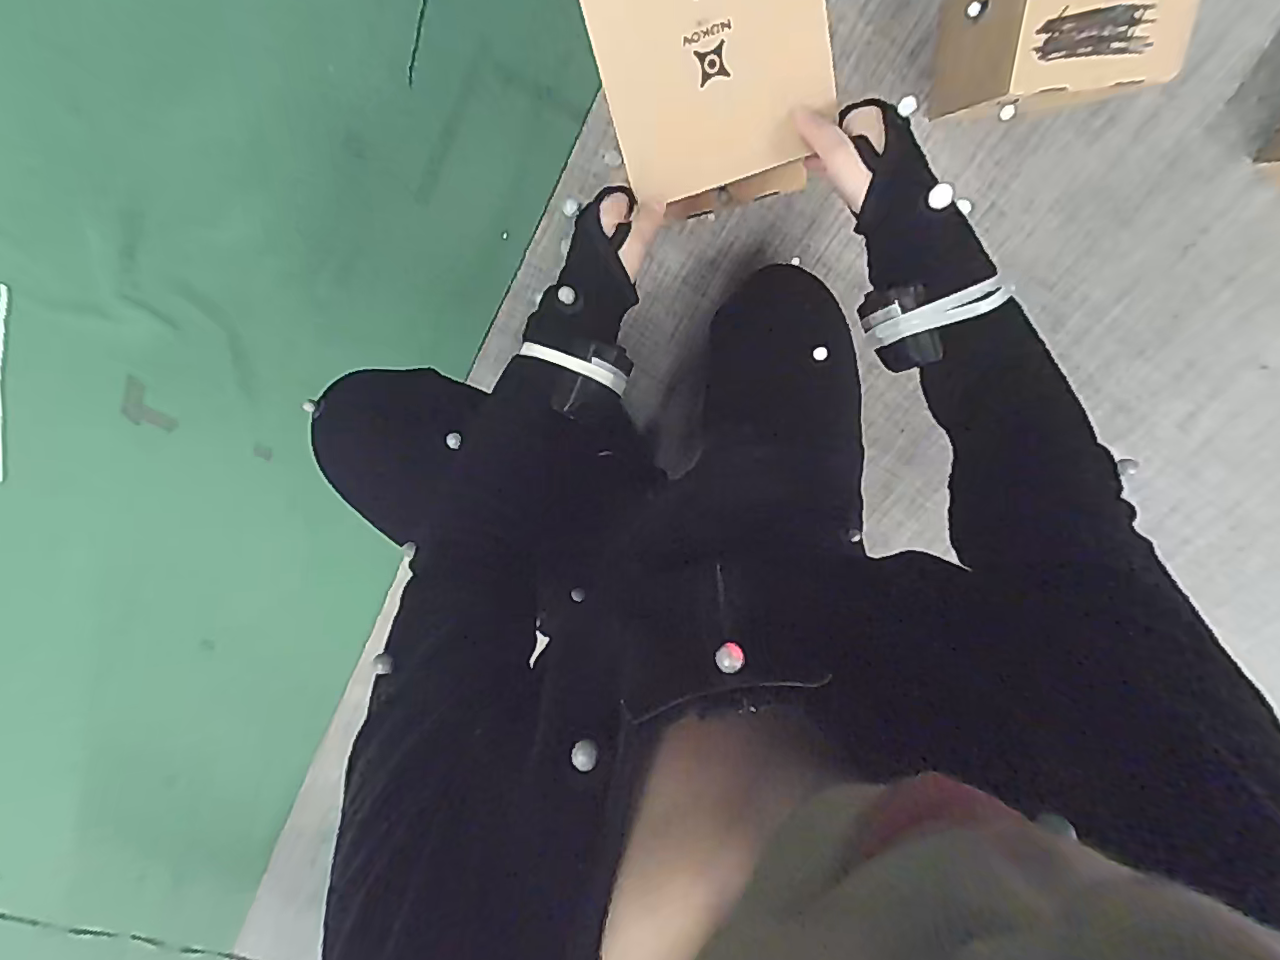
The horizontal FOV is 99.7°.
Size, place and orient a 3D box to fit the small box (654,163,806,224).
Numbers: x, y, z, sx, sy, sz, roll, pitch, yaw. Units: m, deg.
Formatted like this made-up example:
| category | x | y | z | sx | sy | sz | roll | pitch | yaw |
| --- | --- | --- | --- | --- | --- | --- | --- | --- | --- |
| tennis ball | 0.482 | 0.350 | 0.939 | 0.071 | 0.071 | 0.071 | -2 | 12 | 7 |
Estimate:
| category | x | y | z | sx | sy | sz | roll | pitch | yaw |
| --- | --- | --- | --- | --- | --- | --- | --- | --- | --- |
| small box | 0.080 | -0.409 | 0.628 | 0.168 | 0.176 | 0.179 | -13 | 115 | 7 |

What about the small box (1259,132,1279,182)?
| category | x | y | z | sx | sy | sz | roll | pitch | yaw |
| --- | --- | --- | --- | --- | --- | --- | --- | --- | --- |
| small box | 0.905 | -0.414 | 0.616 | 0.179 | 0.176 | 0.168 | 21 | 115 | -9 |

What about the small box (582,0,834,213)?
| category | x | y | z | sx | sy | sz | roll | pitch | yaw |
| --- | --- | --- | --- | --- | --- | --- | --- | --- | --- |
| small box | 0.057 | -0.351 | 0.469 | 0.168 | 0.176 | 0.179 | -14 | 115 | 10 |
